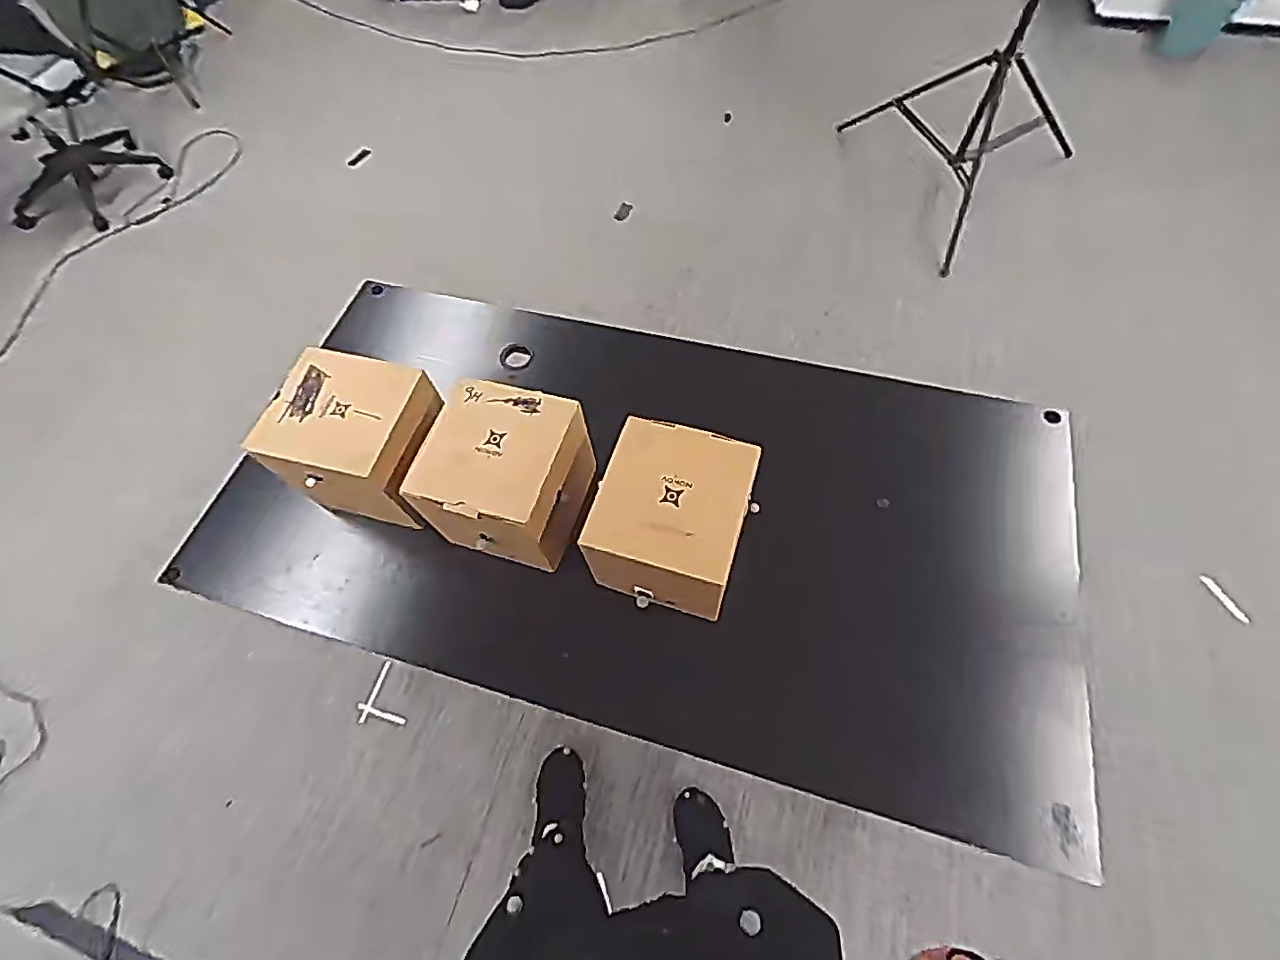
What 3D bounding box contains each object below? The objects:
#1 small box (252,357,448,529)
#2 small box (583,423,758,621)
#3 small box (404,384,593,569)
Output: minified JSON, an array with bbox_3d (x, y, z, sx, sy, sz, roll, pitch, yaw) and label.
[{"bbox_3d":[-0.378,-0.046,0.764,0.179,0.176,0.168,12,64,8],"label":"small box"},{"bbox_3d":[0.043,0.058,0.685,0.168,0.176,0.179,13,65,12],"label":"small box"},{"bbox_3d":[-0.172,0.002,0.726,0.168,0.176,0.179,14,65,11],"label":"small box"}]
